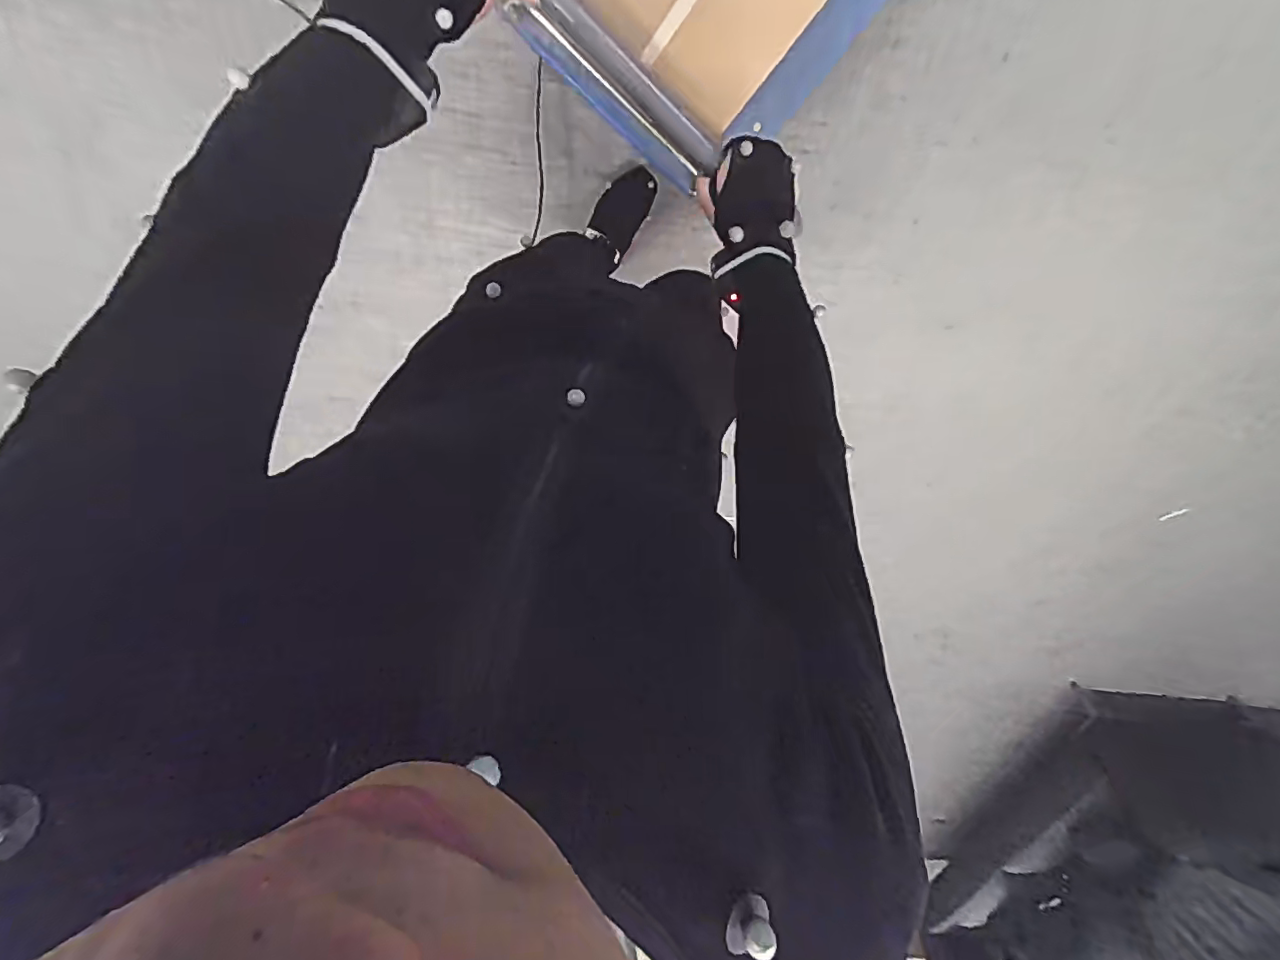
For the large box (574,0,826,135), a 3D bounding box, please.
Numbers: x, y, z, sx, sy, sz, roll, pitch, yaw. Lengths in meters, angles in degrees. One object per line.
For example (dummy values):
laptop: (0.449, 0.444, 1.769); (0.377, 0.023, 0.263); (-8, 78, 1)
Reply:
large box: (0.133, -0.835, 0.852); (0.320, 0.320, 0.408); (34, 117, -22)
